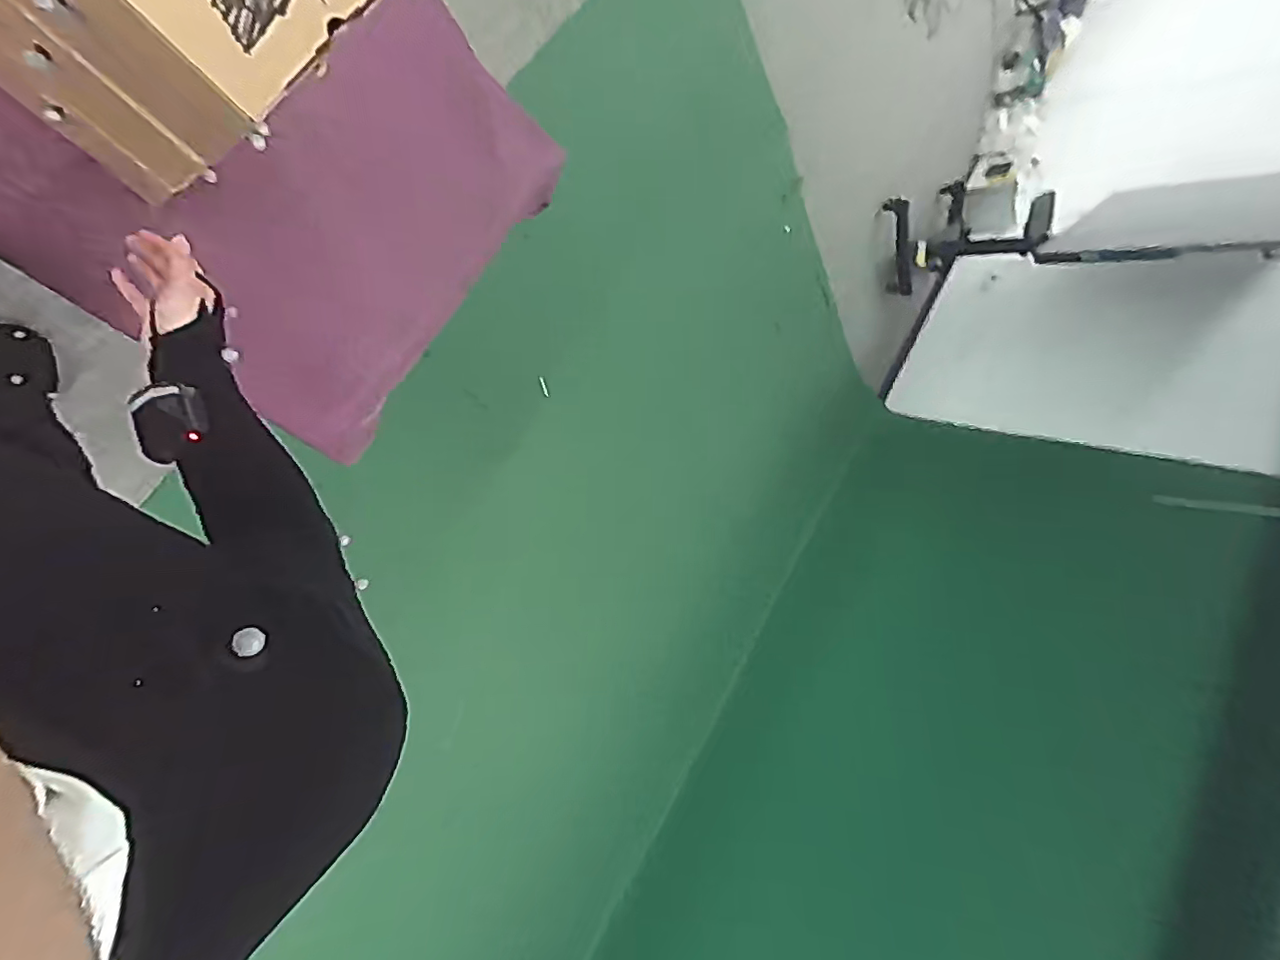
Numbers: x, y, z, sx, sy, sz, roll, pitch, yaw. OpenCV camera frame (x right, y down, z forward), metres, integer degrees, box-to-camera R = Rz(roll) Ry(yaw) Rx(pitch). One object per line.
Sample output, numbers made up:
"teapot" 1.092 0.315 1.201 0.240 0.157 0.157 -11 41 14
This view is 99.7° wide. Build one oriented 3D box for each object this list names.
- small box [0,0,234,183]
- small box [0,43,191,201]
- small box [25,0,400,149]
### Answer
"small box" -0.403 -0.379 0.446 0.168 0.176 0.179 -58 136 -13
"small box" -0.520 -0.417 0.553 0.168 0.176 0.179 -57 137 -15
"small box" -0.284 -0.340 0.338 0.179 0.176 0.168 44 72 -45
